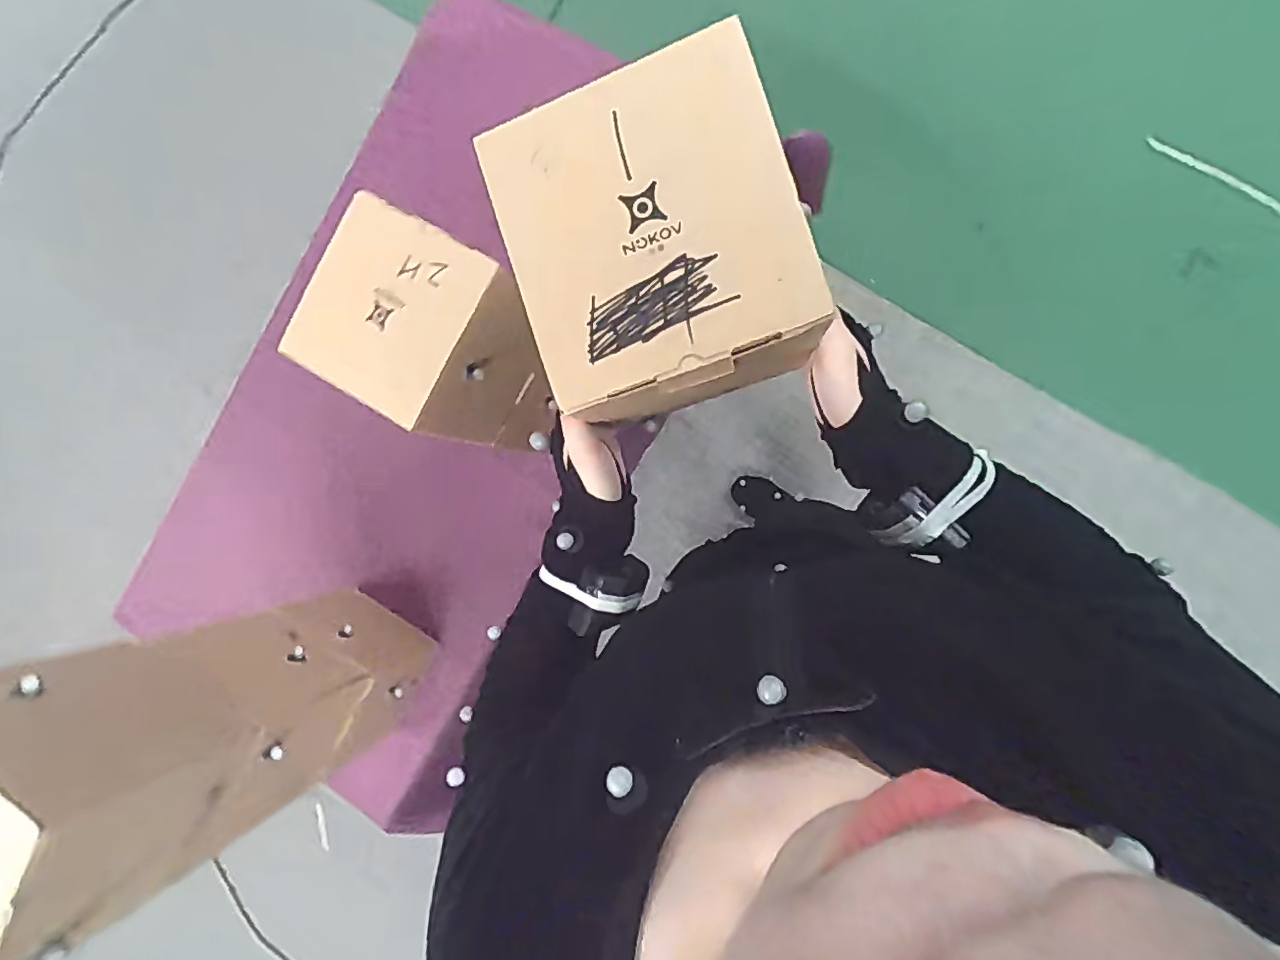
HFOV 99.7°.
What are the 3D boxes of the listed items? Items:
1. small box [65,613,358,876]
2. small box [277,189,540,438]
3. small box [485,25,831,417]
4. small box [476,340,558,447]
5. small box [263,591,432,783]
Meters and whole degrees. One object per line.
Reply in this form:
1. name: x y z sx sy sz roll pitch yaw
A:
1. small box: -0.462 0.276 0.612 0.168 0.176 0.179 27 91 8
2. small box: -0.227 -0.159 0.581 0.168 0.176 0.179 30 93 7
3. small box: 0.020 -0.148 0.387 0.168 0.176 0.179 -17 89 10
4. small box: -0.205 -0.155 0.745 0.179 0.176 0.168 31 93 7
5. small box: -0.436 0.276 0.772 0.179 0.176 0.168 29 92 8
